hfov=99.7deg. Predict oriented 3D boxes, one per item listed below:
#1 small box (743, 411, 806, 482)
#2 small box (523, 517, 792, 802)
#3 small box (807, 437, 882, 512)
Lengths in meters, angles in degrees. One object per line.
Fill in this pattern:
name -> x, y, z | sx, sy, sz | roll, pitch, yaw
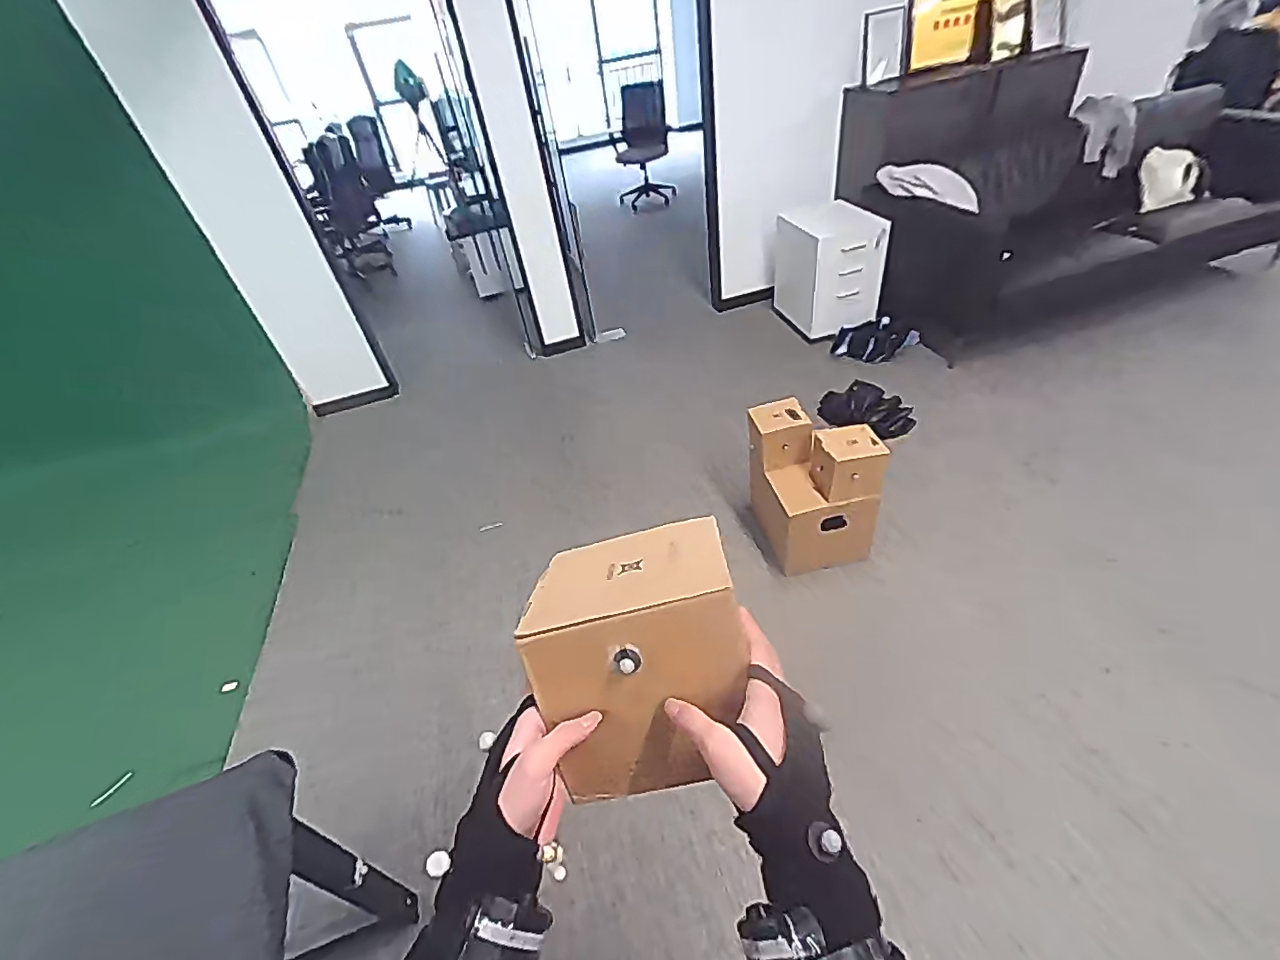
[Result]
small box -> 0.472, -0.117, 1.912 | 0.179, 0.176, 0.168 | -13, 39, 0
small box -> 0.019, 0.153, 0.487 | 0.179, 0.176, 0.168 | -14, 13, 5
small box -> 0.653, -0.015, 1.751 | 0.179, 0.176, 0.168 | -10, 38, -3
